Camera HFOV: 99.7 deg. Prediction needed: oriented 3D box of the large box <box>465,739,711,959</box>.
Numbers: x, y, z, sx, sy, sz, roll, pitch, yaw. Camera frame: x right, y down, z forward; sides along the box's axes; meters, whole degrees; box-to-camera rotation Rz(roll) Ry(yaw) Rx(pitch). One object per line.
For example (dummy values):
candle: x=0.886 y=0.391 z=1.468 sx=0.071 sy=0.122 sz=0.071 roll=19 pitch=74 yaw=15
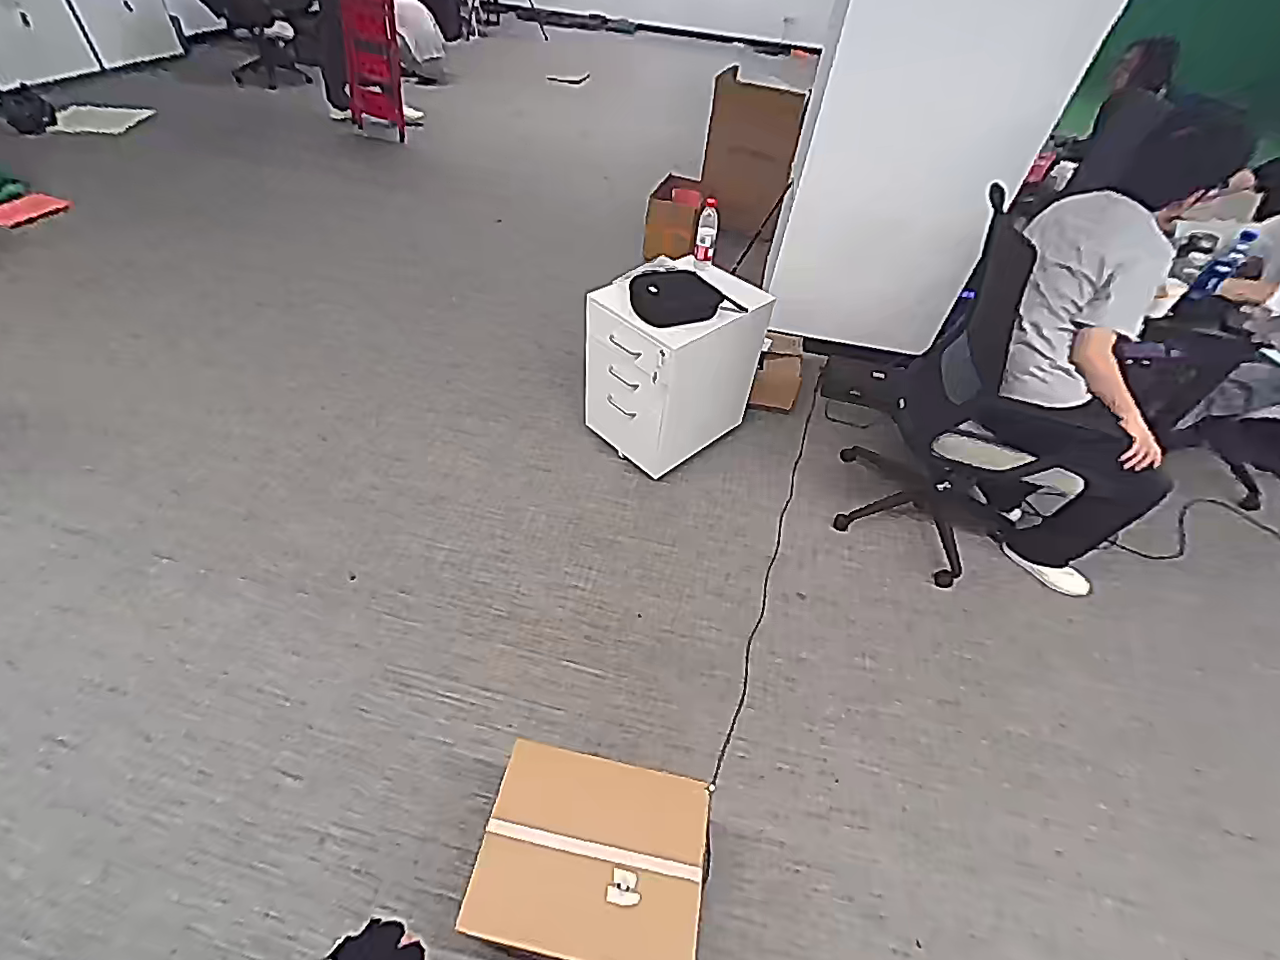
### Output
large box: x=-0.094 y=0.780 z=1.109 sx=0.408 sy=0.320 sz=0.320 roll=12 pitch=48 yaw=4
